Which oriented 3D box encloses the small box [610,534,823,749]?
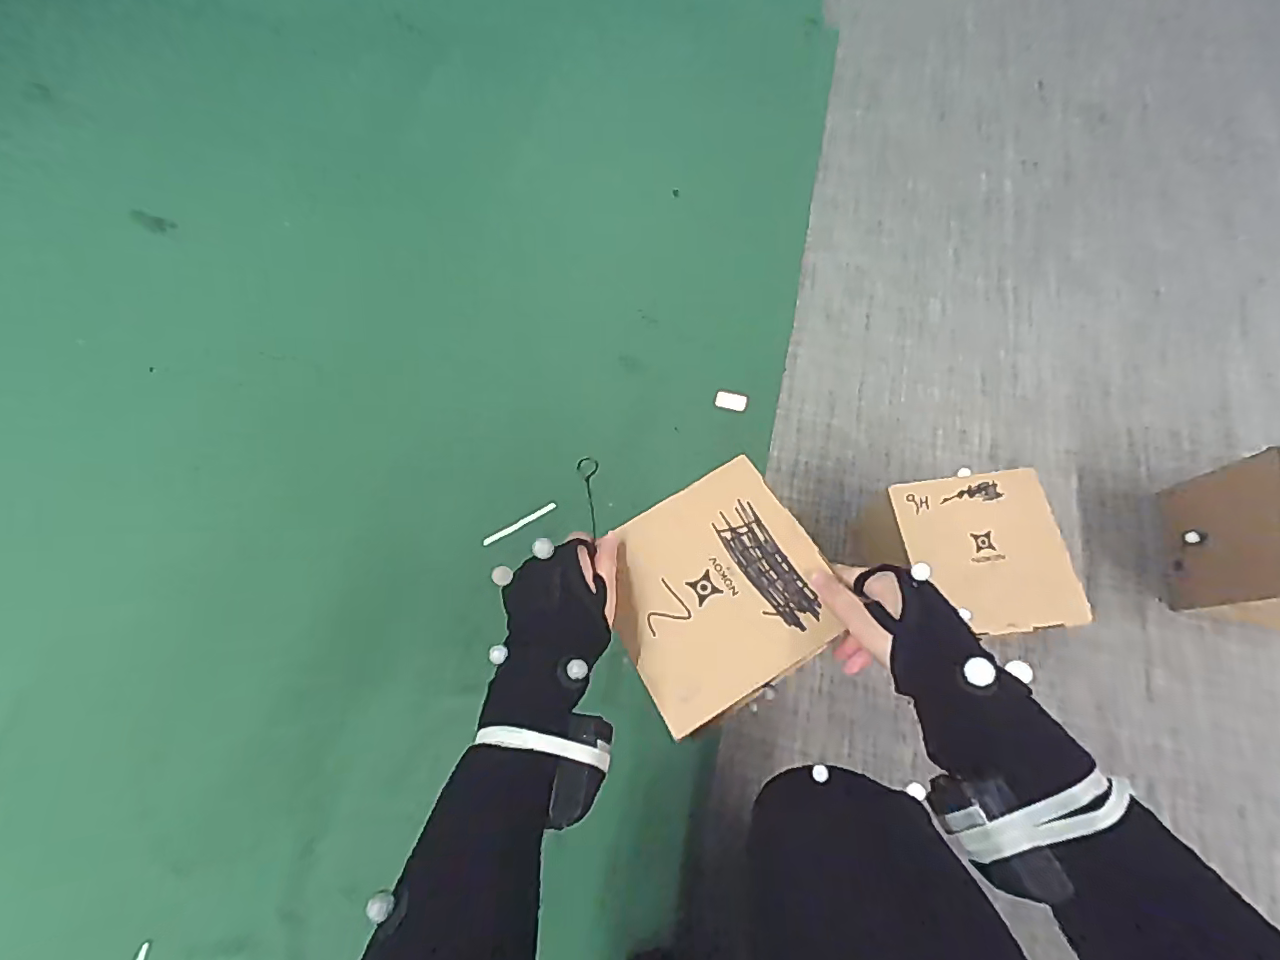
[{"bbox_3d":[0.088,0.198,0.654,0.179,0.176,0.168,-32,68,-8],"label":"small box"}]

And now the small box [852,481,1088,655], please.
[{"bbox_3d":[0.377,0.117,0.657,0.168,0.176,0.179,-7,69,3],"label":"small box"}]

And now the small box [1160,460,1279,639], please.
[{"bbox_3d":[0.772,0.088,0.626,0.179,0.176,0.168,9,69,7],"label":"small box"}]
